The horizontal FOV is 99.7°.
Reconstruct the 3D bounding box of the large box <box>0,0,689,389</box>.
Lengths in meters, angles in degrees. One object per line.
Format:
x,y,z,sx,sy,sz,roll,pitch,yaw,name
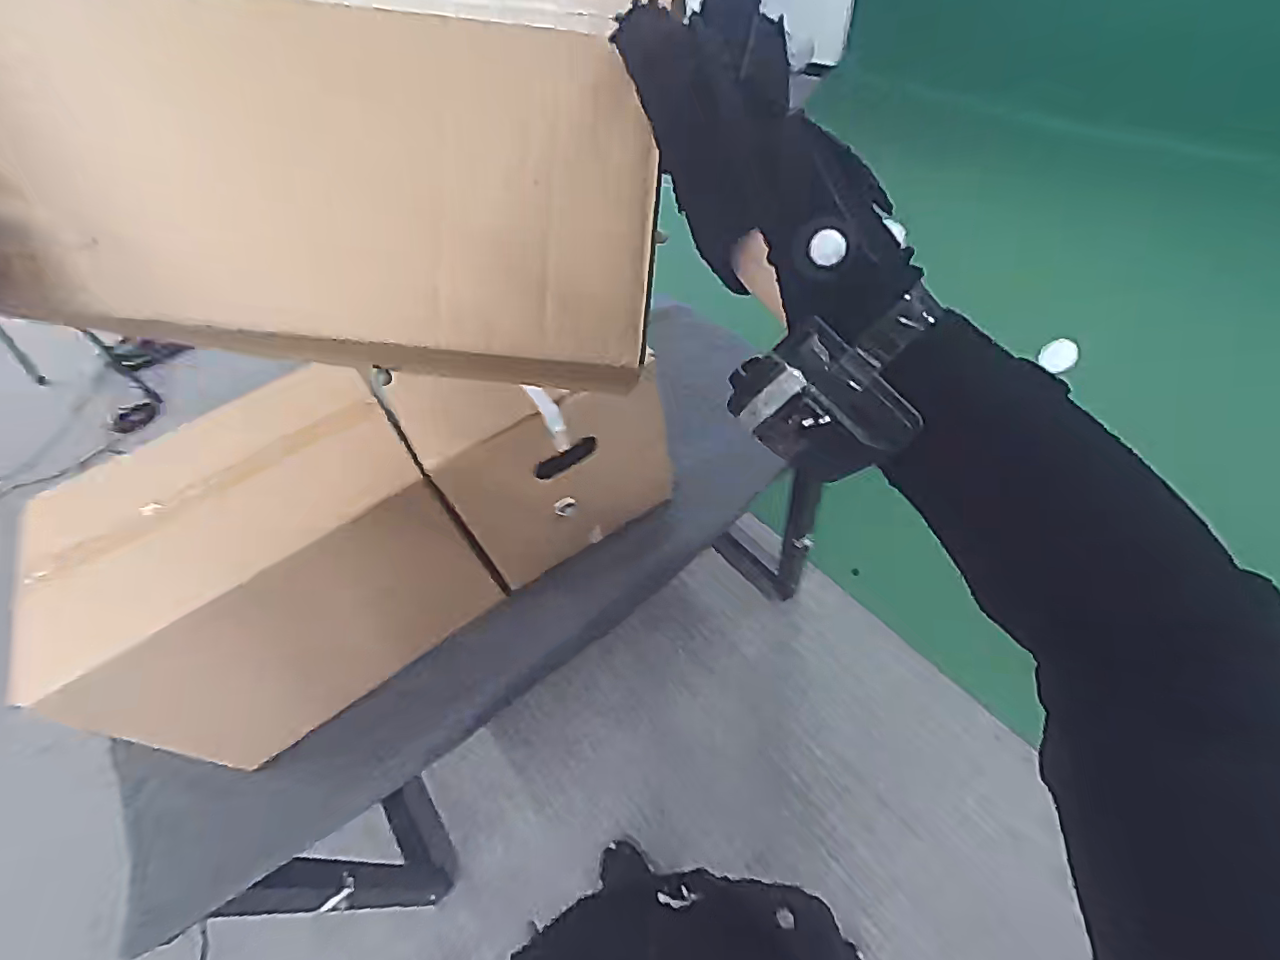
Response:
-0.176,-0.244,0.412,0.408,0.320,0.320,6,96,-1,large box
